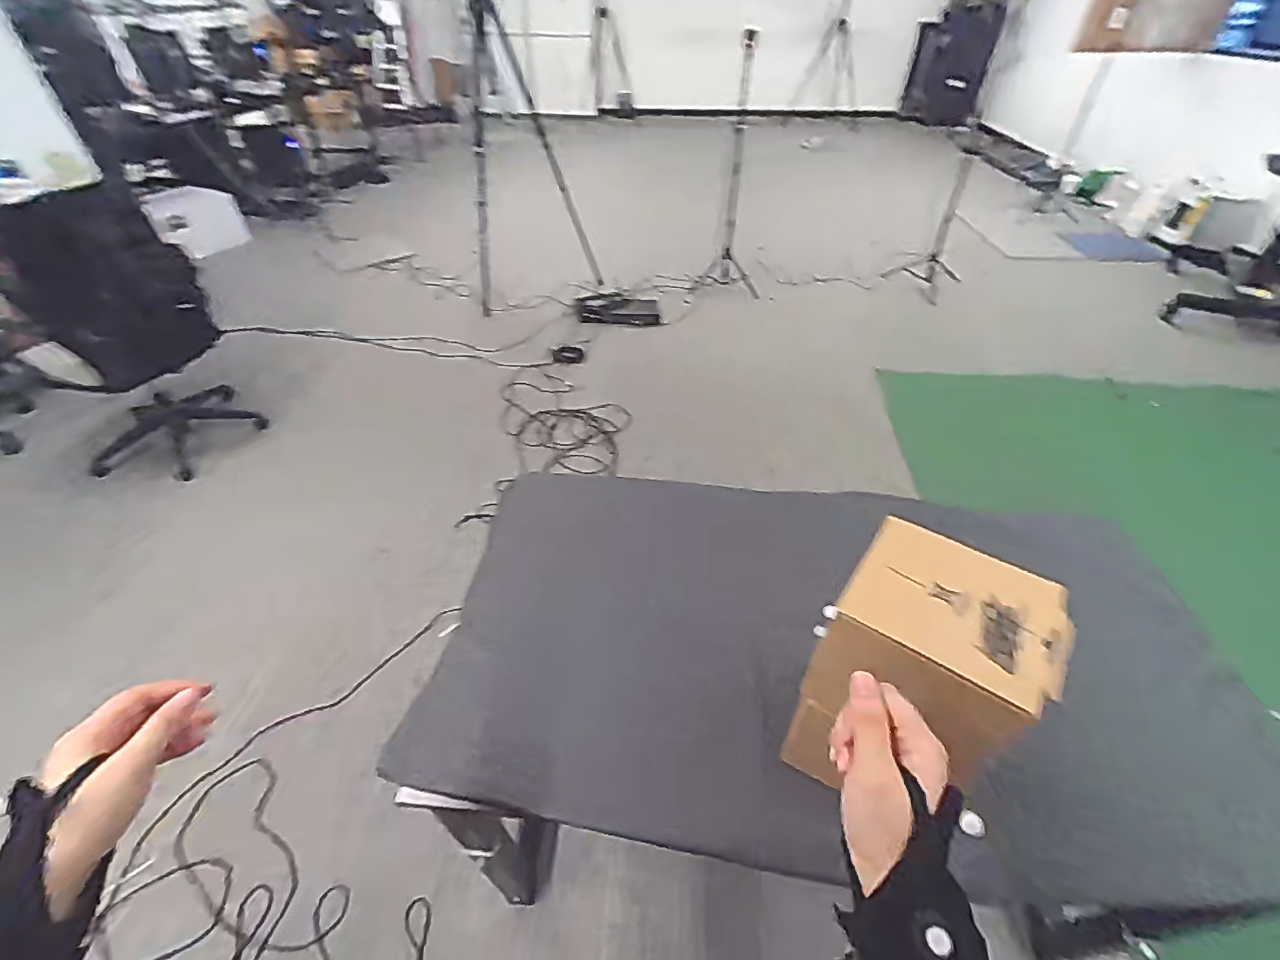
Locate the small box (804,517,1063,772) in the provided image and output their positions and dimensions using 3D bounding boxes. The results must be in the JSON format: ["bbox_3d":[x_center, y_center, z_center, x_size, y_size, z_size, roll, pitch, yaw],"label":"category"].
[{"bbox_3d":[0.302,0.178,0.581,0.179,0.176,0.168,27,48,28],"label":"small box"}]
